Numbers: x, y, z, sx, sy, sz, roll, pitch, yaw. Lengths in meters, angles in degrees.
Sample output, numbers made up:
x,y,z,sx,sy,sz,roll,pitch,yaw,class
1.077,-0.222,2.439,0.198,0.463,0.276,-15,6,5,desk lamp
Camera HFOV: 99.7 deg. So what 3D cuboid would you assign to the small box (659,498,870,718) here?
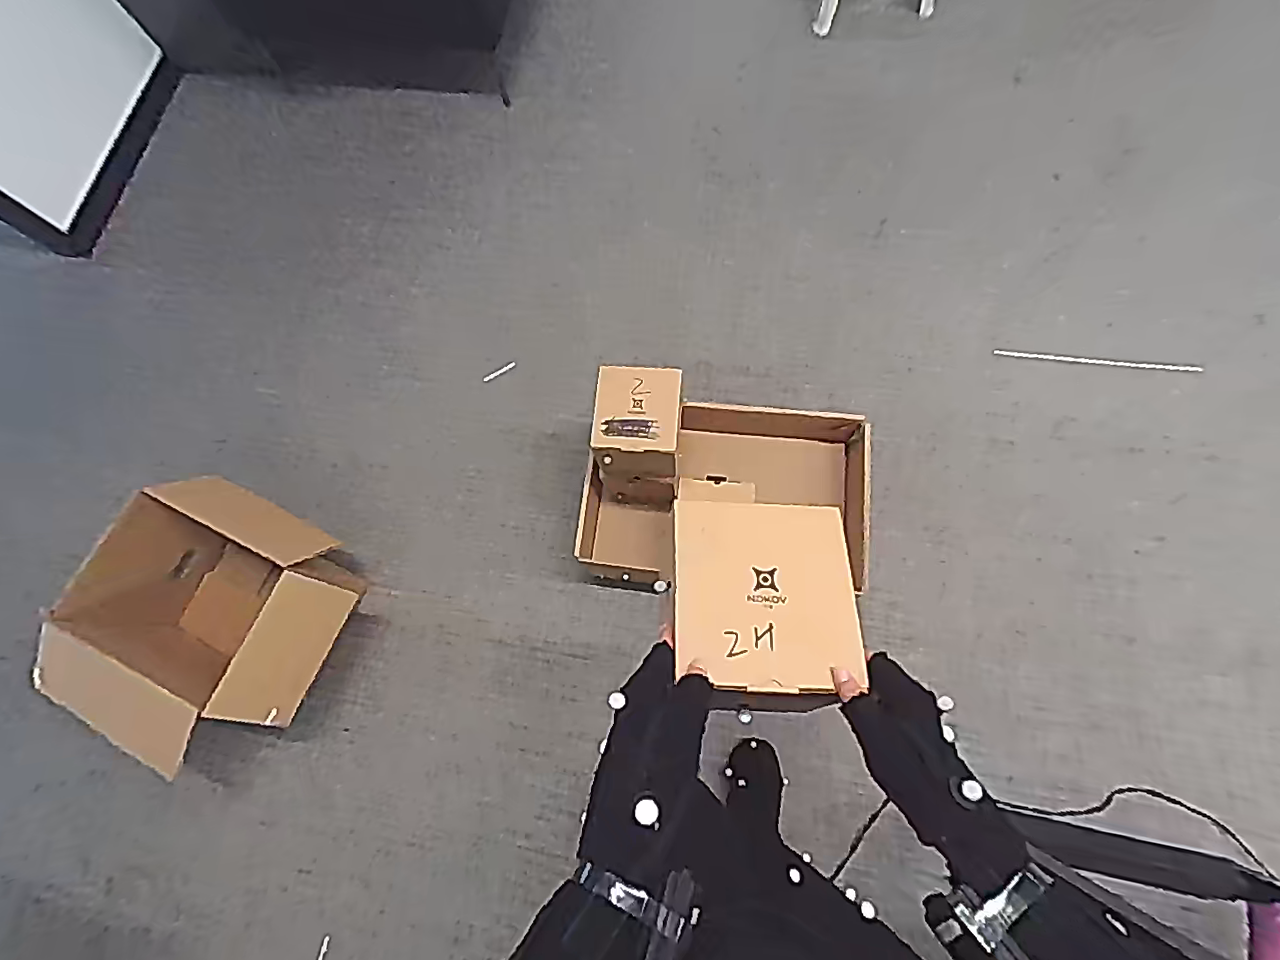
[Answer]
x,y,z,sx,sy,sz,roll,pitch,yaw,class
0.110,0.138,0.557,0.168,0.176,0.179,4,61,-2,small box
